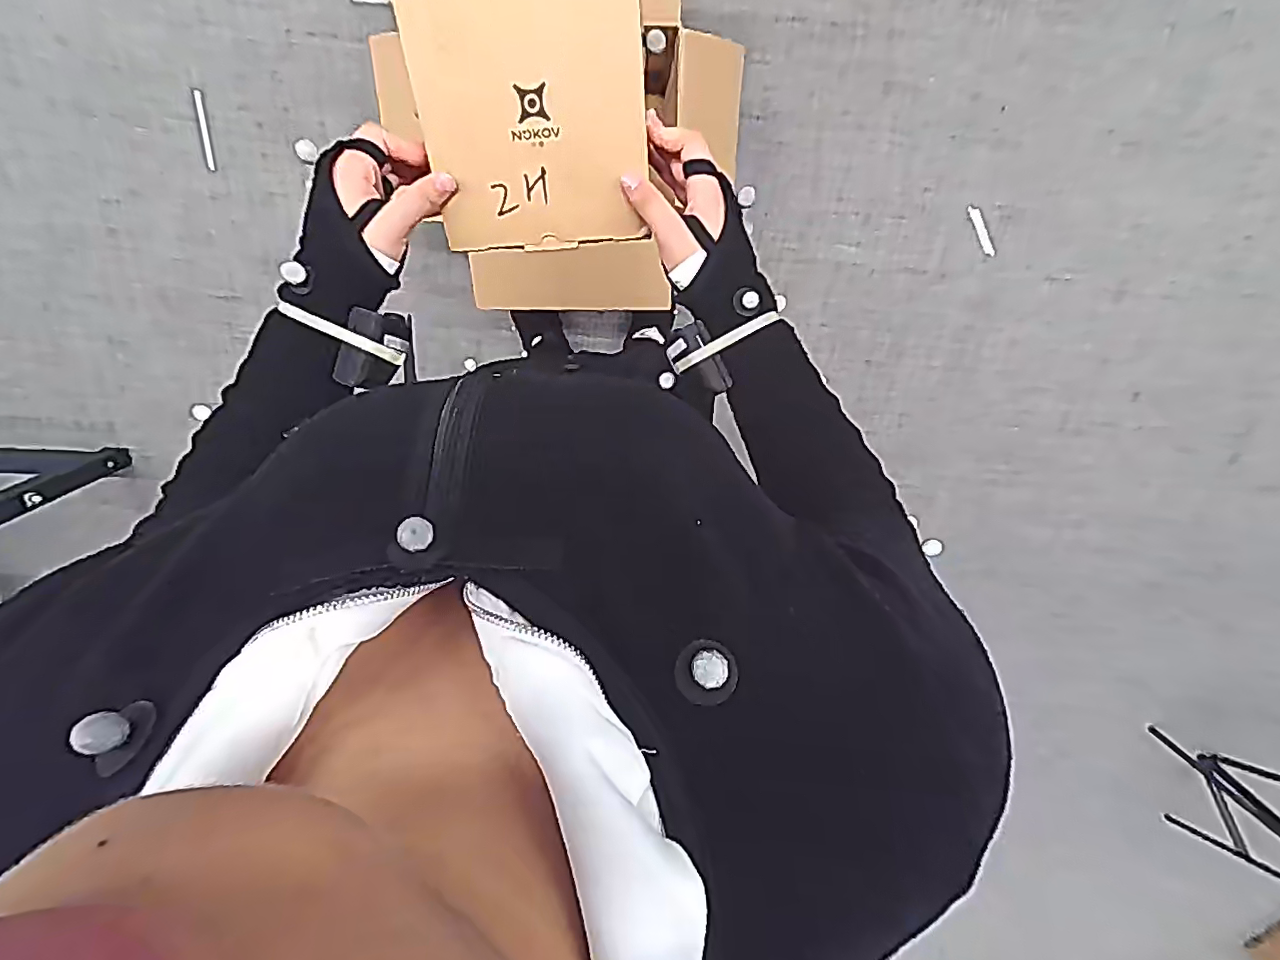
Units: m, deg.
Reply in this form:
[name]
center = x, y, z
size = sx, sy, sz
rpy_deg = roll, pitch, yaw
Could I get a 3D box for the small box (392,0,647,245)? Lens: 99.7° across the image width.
[small box]
center = -0.081, -0.308, 0.460
size = 0.168, 0.176, 0.179
rpy_deg = -3, 121, 3
